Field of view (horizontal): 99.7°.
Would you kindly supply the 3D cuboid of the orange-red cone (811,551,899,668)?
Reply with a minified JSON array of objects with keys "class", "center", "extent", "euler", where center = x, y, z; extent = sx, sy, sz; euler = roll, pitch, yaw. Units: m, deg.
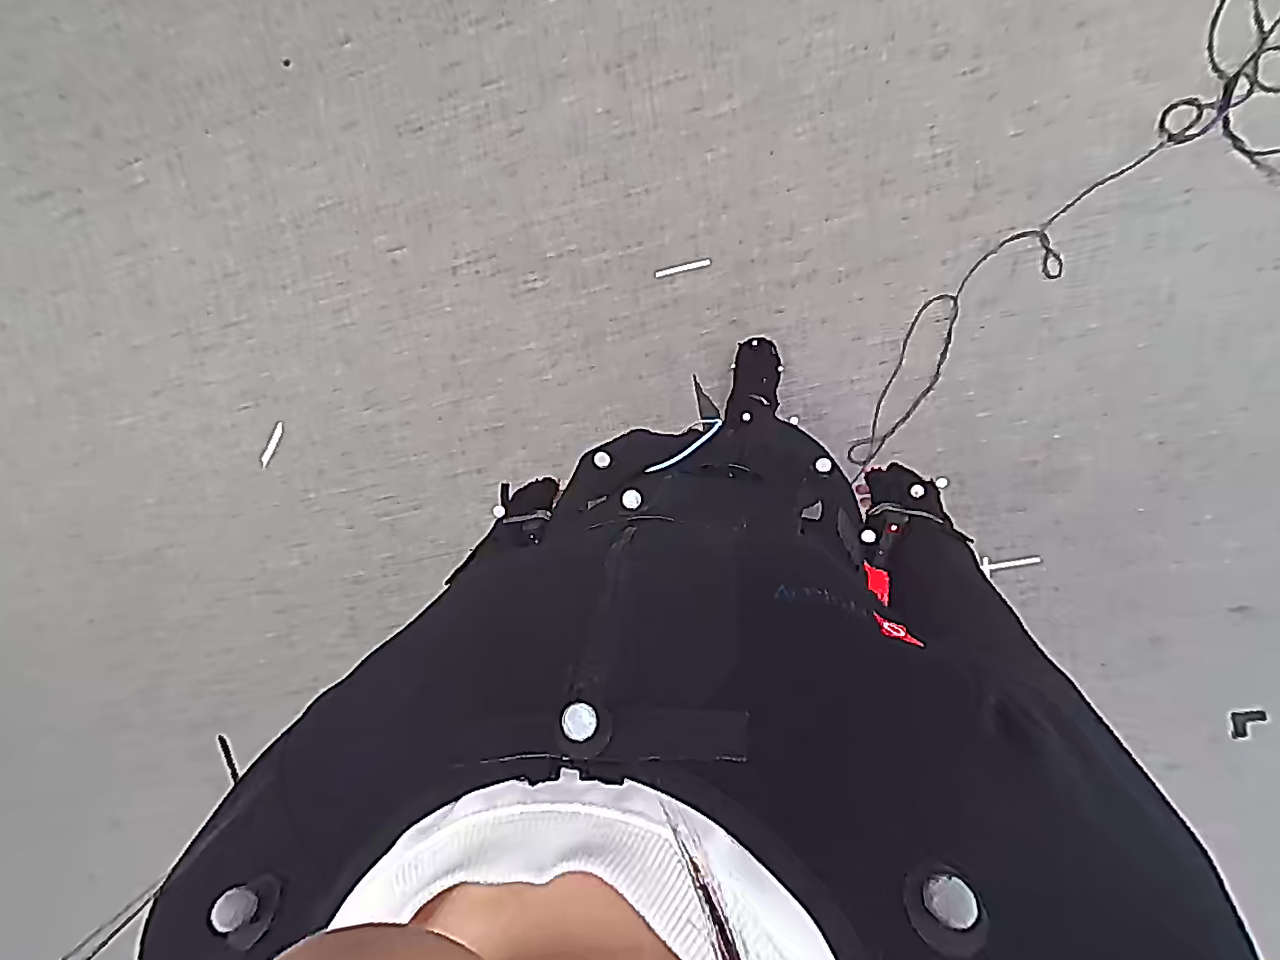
[{"class":"orange-red cone","center":[0.516,0.313,1.221],"extent":[0.199,0.360,0.198],"euler":[-5,100,10]}]

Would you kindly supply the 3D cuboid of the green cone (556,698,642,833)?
[{"class":"green cone","center":[-0.135,0.761,1.416],"extent":[0.202,0.368,0.200],"euler":[-9,98,13]}]
